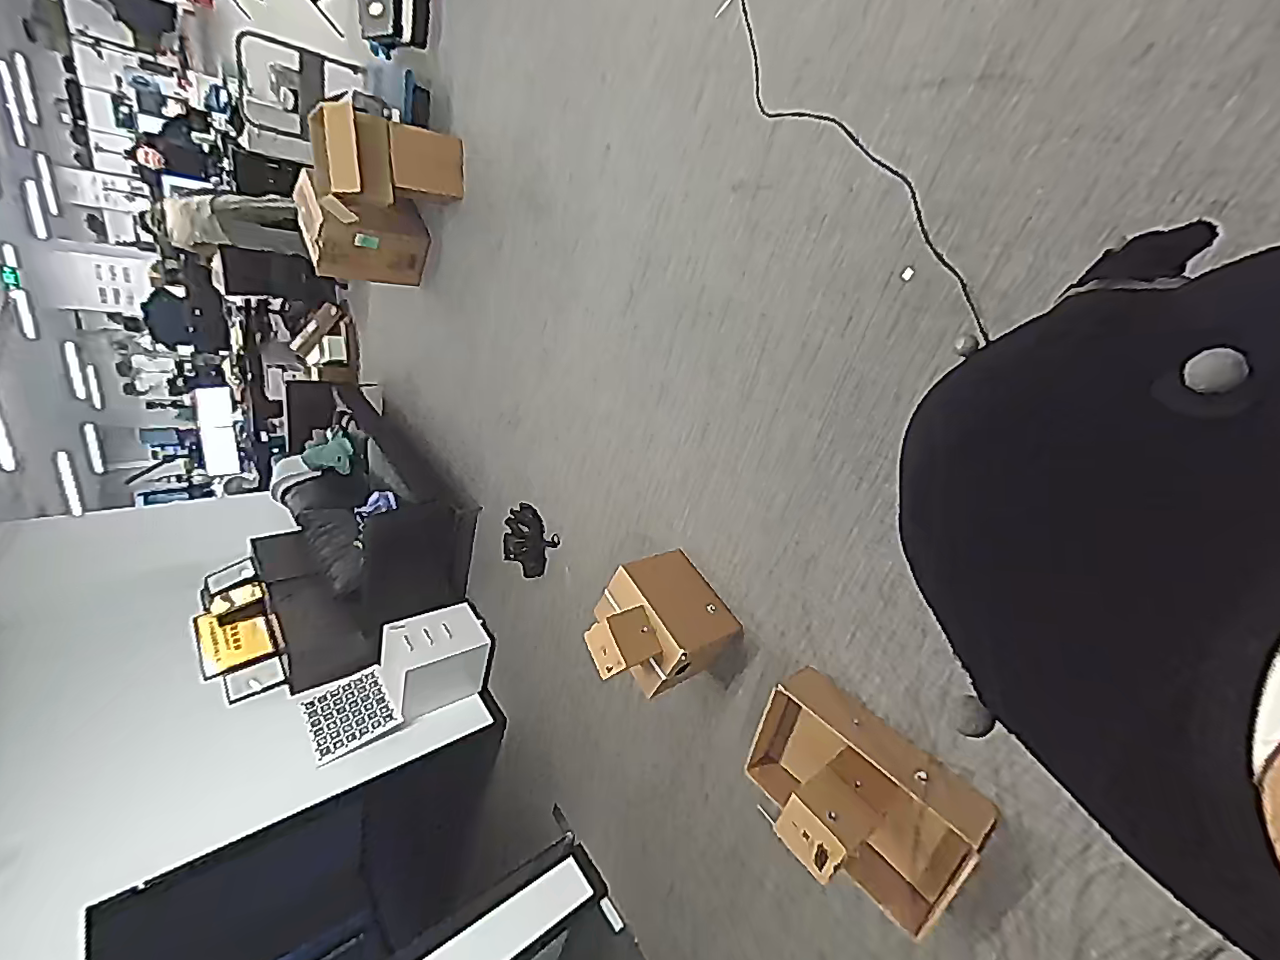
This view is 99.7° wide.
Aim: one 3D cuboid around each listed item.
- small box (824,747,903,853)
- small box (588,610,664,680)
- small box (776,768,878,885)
[{"bbox_3d":[0.633,0.925,1.582,0.179,0.176,0.168,35,121,42],"label":"small box"},{"bbox_3d":[-0.048,0.568,1.890,0.168,0.176,0.179,-46,62,43],"label":"small box"},{"bbox_3d":[0.511,0.934,1.471,0.179,0.176,0.168,38,124,40],"label":"small box"}]
